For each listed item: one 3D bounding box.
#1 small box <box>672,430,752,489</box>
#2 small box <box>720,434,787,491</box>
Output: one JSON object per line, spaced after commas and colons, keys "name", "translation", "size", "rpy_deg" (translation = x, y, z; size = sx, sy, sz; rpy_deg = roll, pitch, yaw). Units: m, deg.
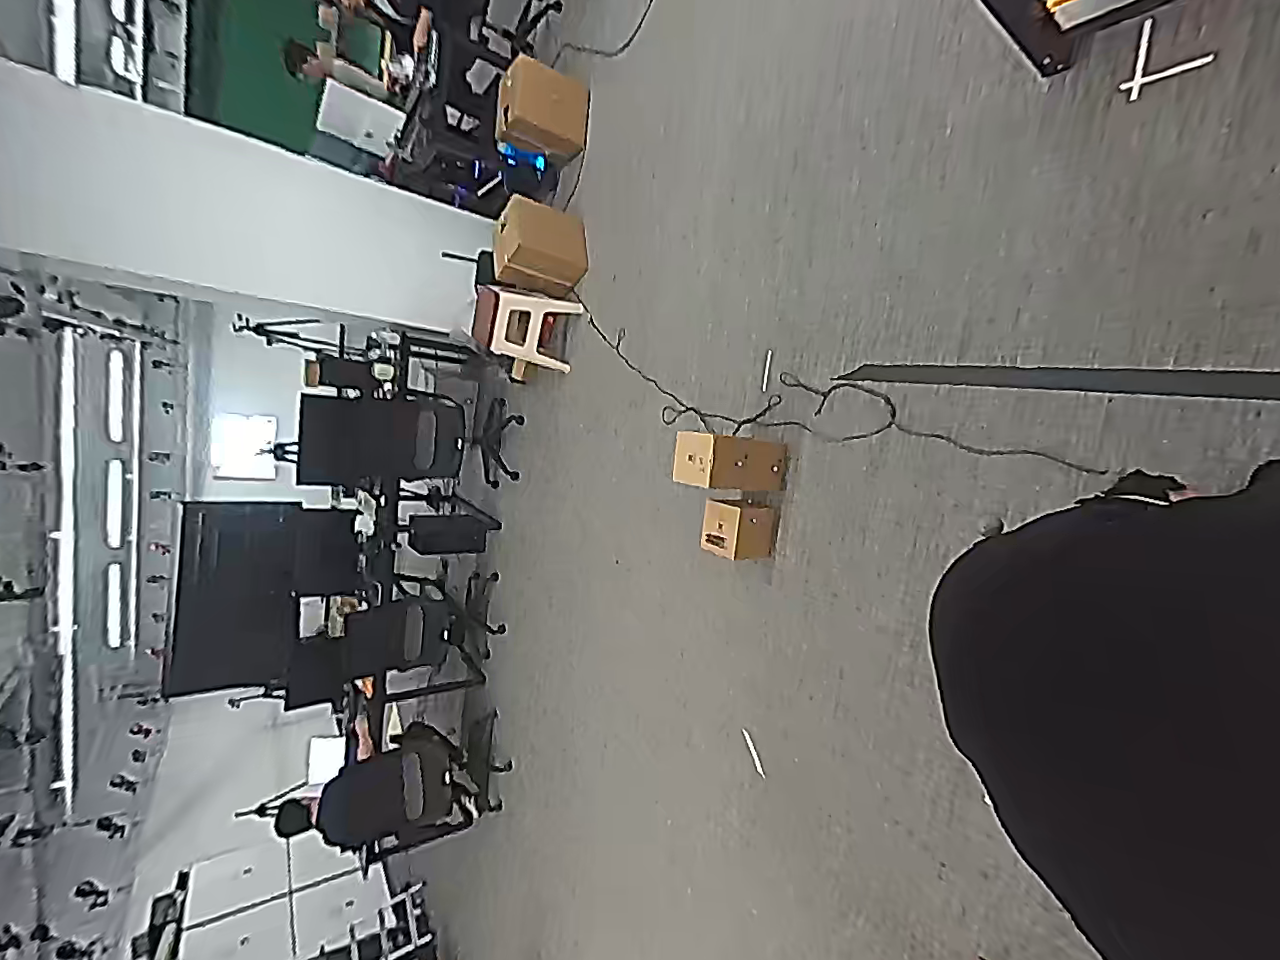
{"name": "small box", "translation": [0.226, -0.062, 1.704], "size": [0.179, 0.176, 0.168], "rpy_deg": [13, 100, 53]}
{"name": "small box", "translation": [0.359, -0.057, 1.801], "size": [0.179, 0.176, 0.168], "rpy_deg": [16, 101, 52]}
